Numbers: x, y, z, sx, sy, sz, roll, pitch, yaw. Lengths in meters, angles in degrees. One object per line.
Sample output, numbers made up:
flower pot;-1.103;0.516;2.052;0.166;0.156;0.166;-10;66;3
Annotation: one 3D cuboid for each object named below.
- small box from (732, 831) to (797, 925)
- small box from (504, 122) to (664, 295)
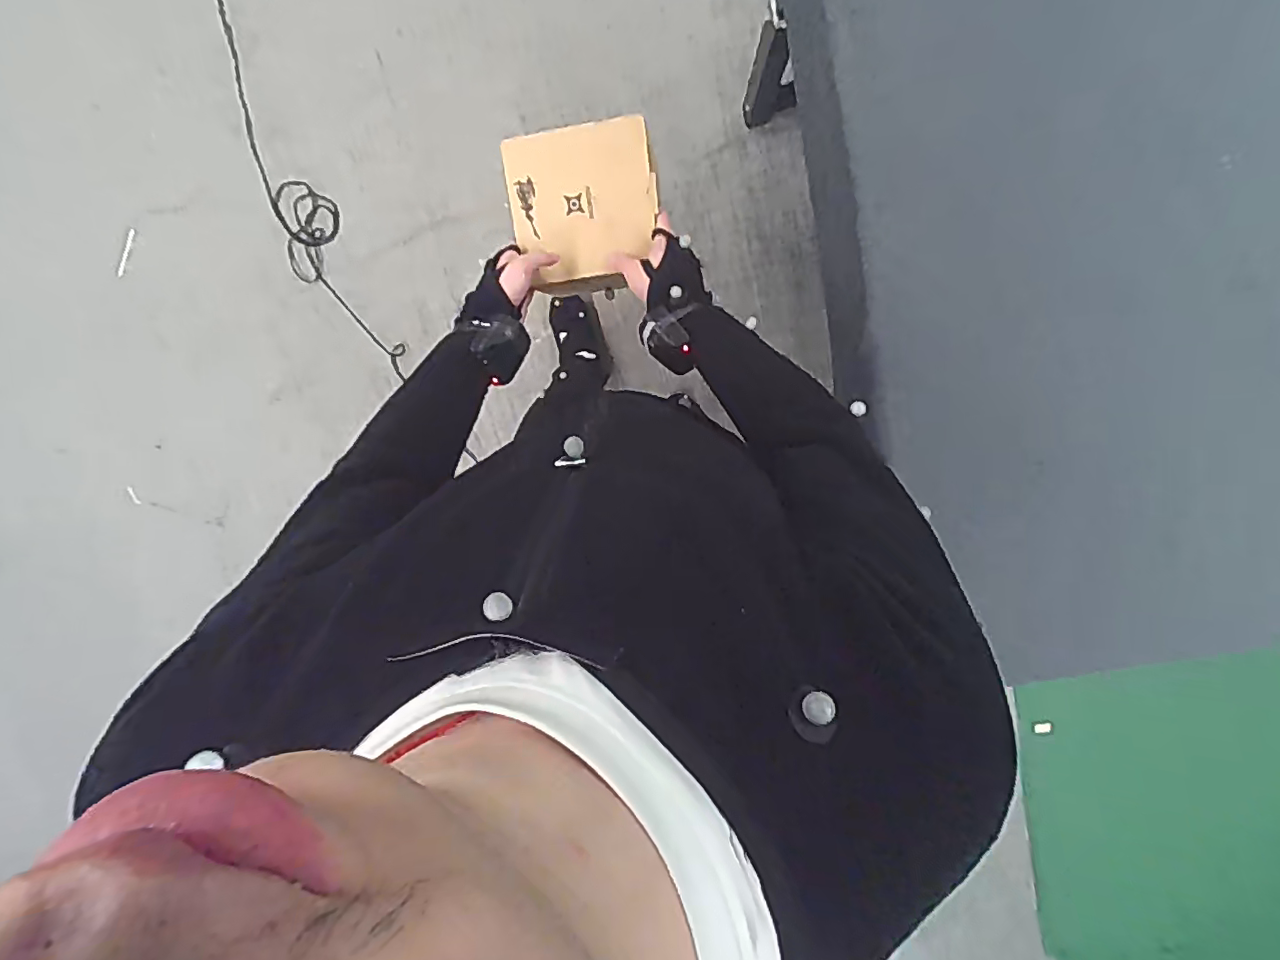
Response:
small box;0.403;1.297;1.768;0.168;0.176;0.179;-11;102;4
small box;-0.060;-0.345;0.720;0.179;0.176;0.168;-5;104;7
